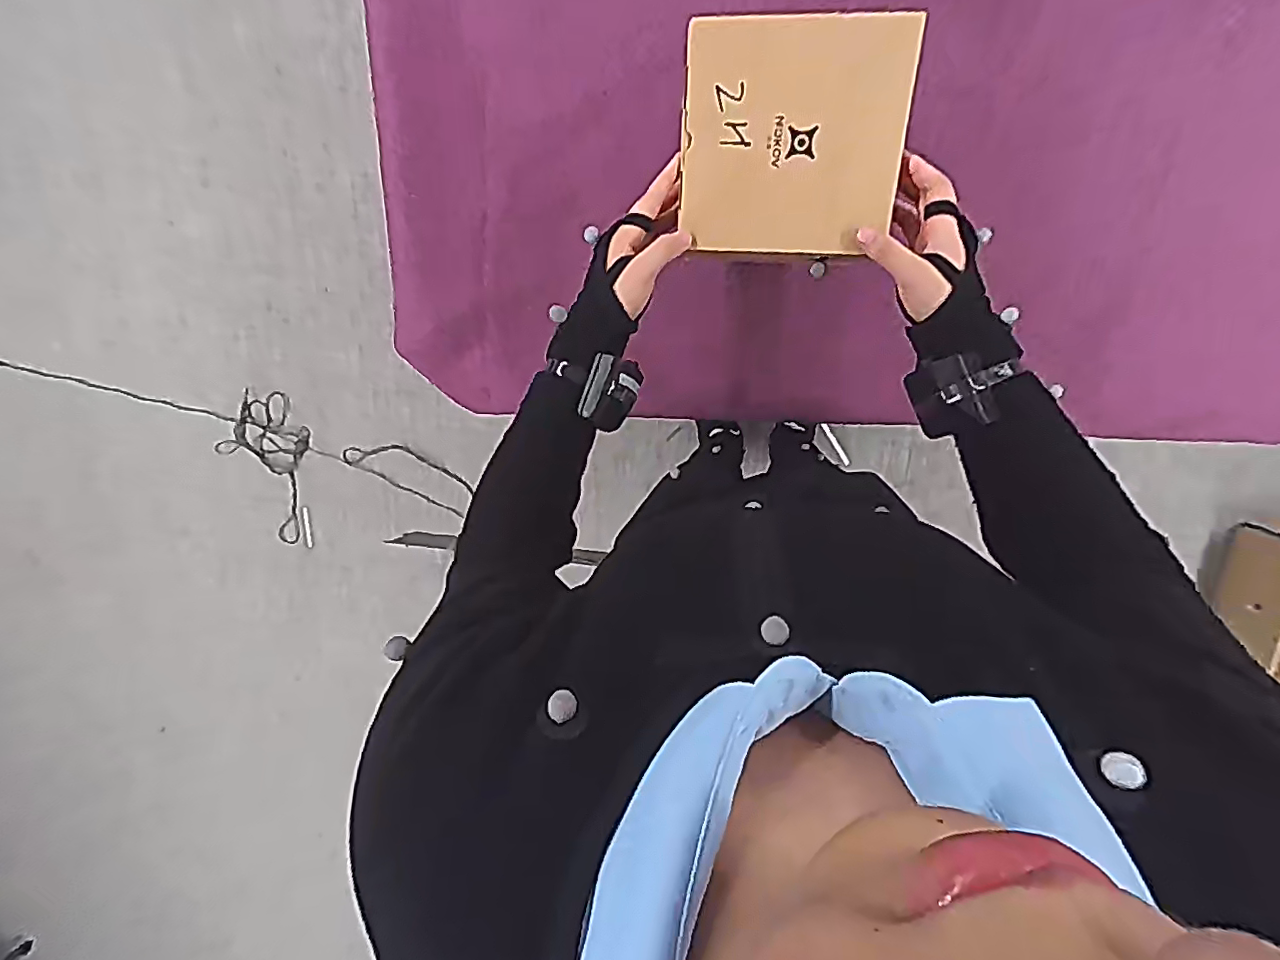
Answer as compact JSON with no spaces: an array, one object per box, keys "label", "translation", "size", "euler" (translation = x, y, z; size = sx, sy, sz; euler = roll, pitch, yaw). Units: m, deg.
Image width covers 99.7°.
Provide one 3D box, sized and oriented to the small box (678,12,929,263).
[{"label":"small box","translation":[0.132,-0.297,0.503],"size":[0.179,0.176,0.168],"euler":[5,109,7]}]
